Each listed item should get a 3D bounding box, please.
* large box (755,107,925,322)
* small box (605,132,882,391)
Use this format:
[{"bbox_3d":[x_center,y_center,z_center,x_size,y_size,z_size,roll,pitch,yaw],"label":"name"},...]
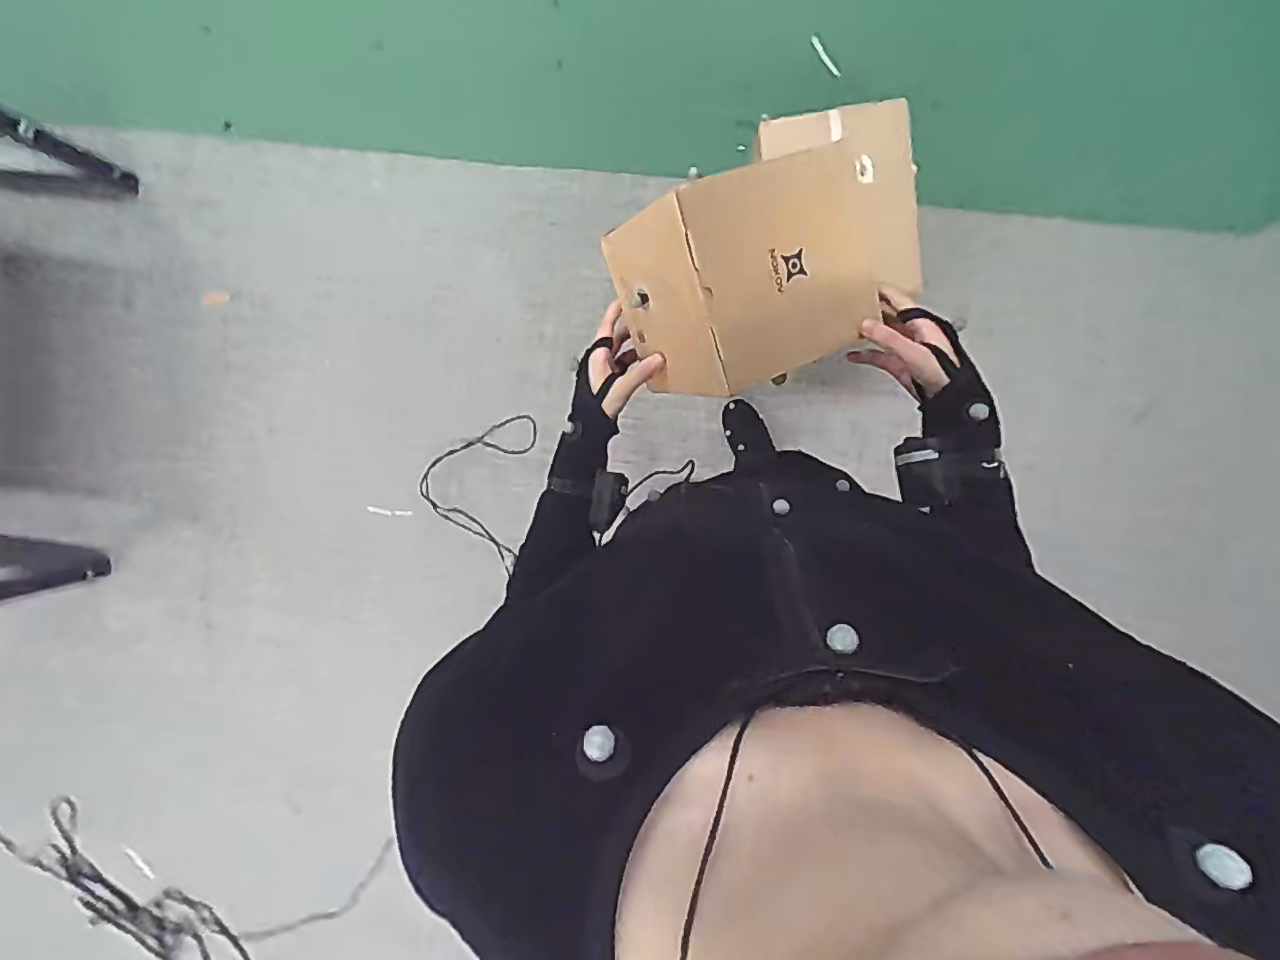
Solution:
[{"bbox_3d":[0.443,-0.577,1.301,0.320,0.320,0.408,-6,92,3],"label":"large box"},{"bbox_3d":[0.091,-0.194,0.516,0.179,0.176,0.168,-25,108,-16],"label":"small box"}]
